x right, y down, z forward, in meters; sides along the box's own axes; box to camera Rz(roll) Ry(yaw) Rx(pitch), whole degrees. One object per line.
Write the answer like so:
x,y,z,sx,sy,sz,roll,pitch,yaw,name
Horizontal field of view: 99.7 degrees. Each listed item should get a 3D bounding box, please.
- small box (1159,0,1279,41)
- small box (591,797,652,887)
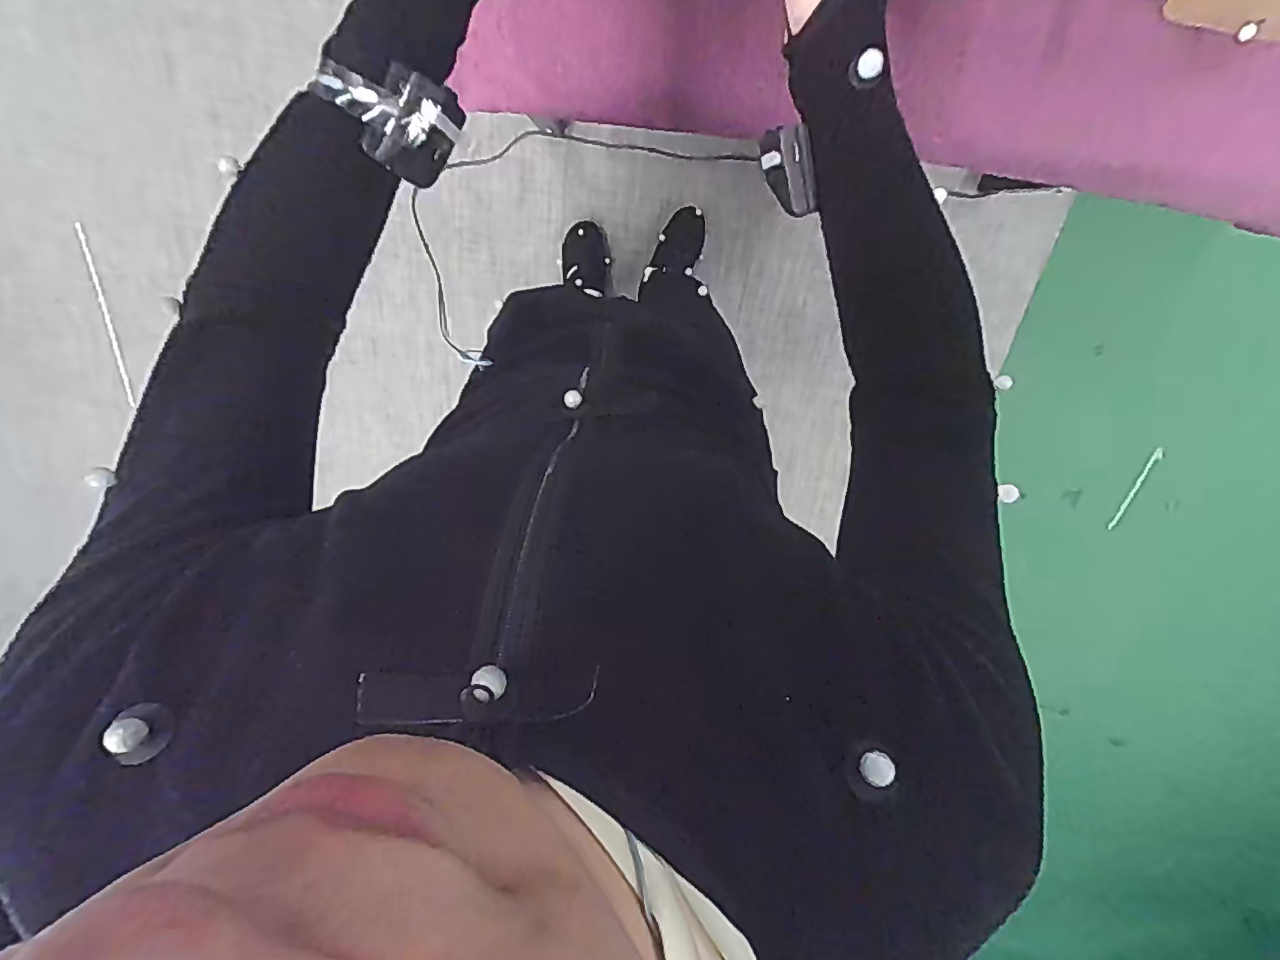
0.742,-0.603,0.579,0.179,0.176,0.168,5,115,-6,small box
-0.060,1.153,1.723,0.168,0.176,0.179,8,114,-6,small box
